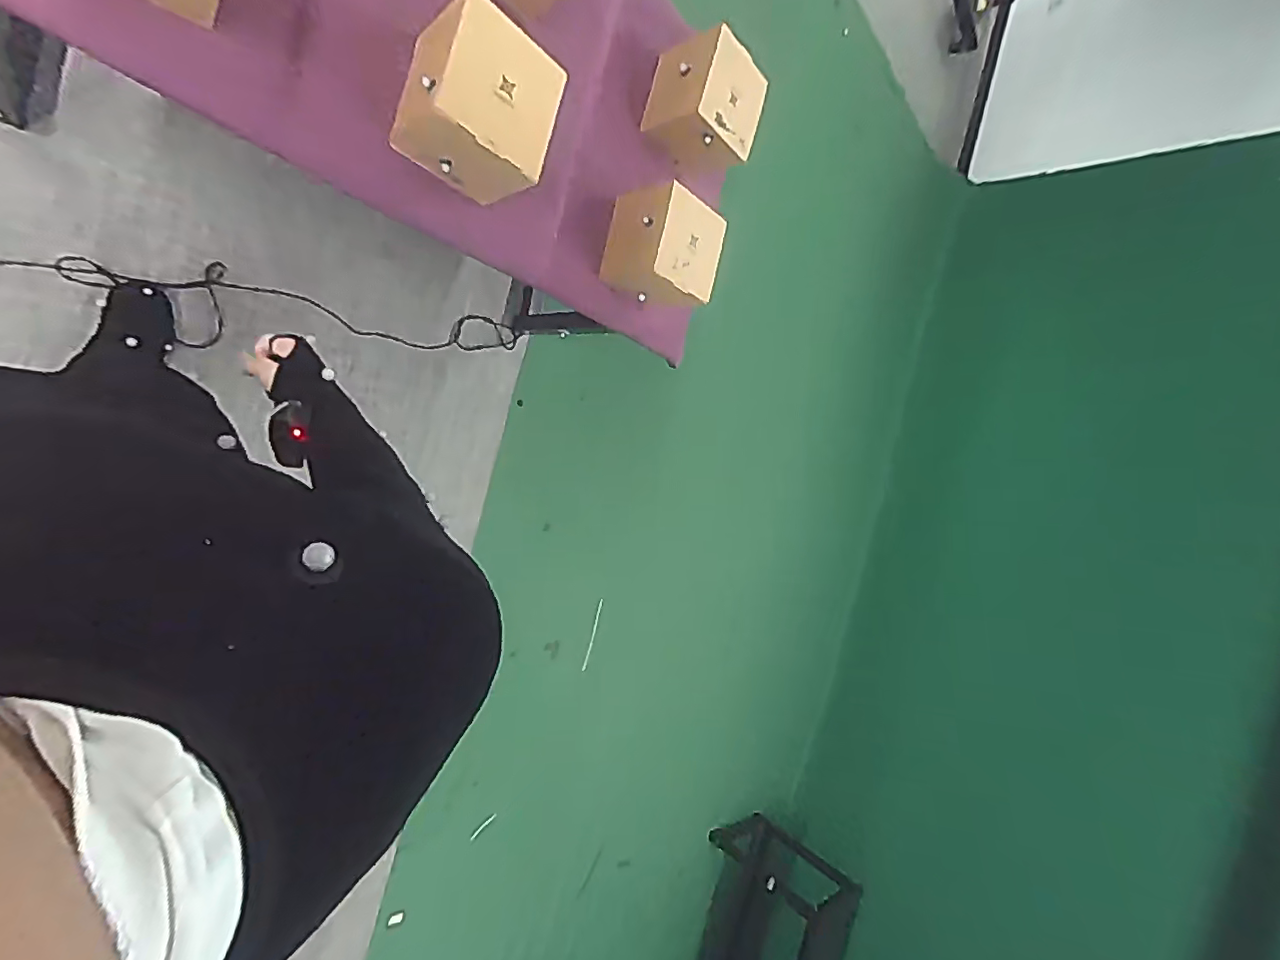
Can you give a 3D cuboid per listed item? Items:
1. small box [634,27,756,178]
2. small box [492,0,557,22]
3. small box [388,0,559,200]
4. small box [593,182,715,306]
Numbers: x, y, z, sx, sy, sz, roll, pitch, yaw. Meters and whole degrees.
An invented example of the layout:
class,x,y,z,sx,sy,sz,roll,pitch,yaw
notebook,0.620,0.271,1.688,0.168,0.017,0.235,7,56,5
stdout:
class,x,y,z,sx,sy,sz,roll,pitch,yaw
small box,0.110,-0.769,1.125,0.168,0.176,0.179,15,91,-46
small box,-0.179,-0.857,0.810,0.168,0.176,0.179,18,90,-46
small box,-0.255,-0.559,0.819,0.168,0.176,0.179,16,90,-47
small box,0.025,-0.476,1.120,0.168,0.176,0.179,13,93,-45
